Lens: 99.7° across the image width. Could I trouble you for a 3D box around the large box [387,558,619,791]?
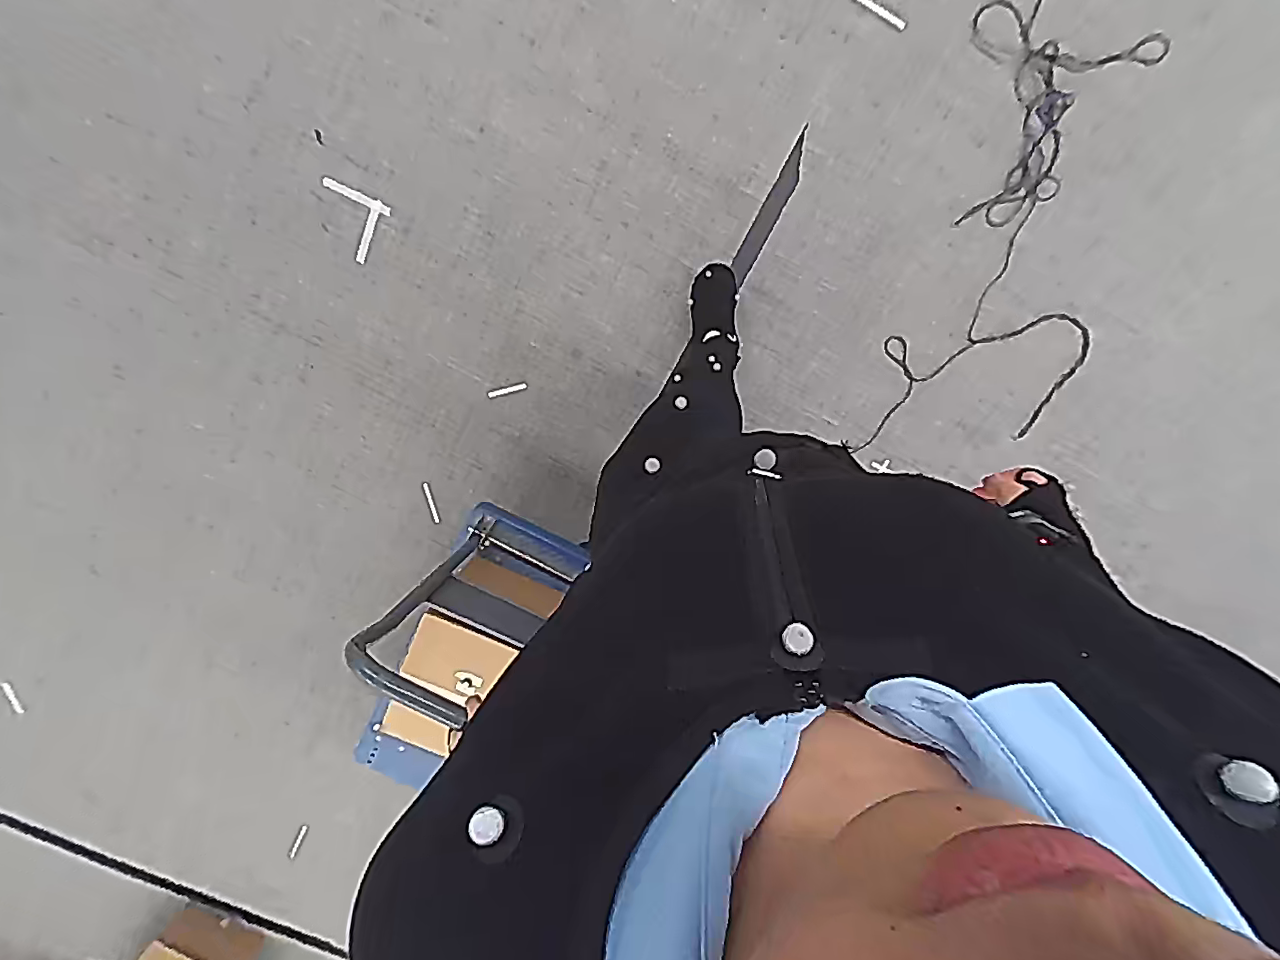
[{"bbox_3d":[-0.299,0.440,1.285,0.408,0.320,0.320,24,103,-3],"label":"large box"}]
